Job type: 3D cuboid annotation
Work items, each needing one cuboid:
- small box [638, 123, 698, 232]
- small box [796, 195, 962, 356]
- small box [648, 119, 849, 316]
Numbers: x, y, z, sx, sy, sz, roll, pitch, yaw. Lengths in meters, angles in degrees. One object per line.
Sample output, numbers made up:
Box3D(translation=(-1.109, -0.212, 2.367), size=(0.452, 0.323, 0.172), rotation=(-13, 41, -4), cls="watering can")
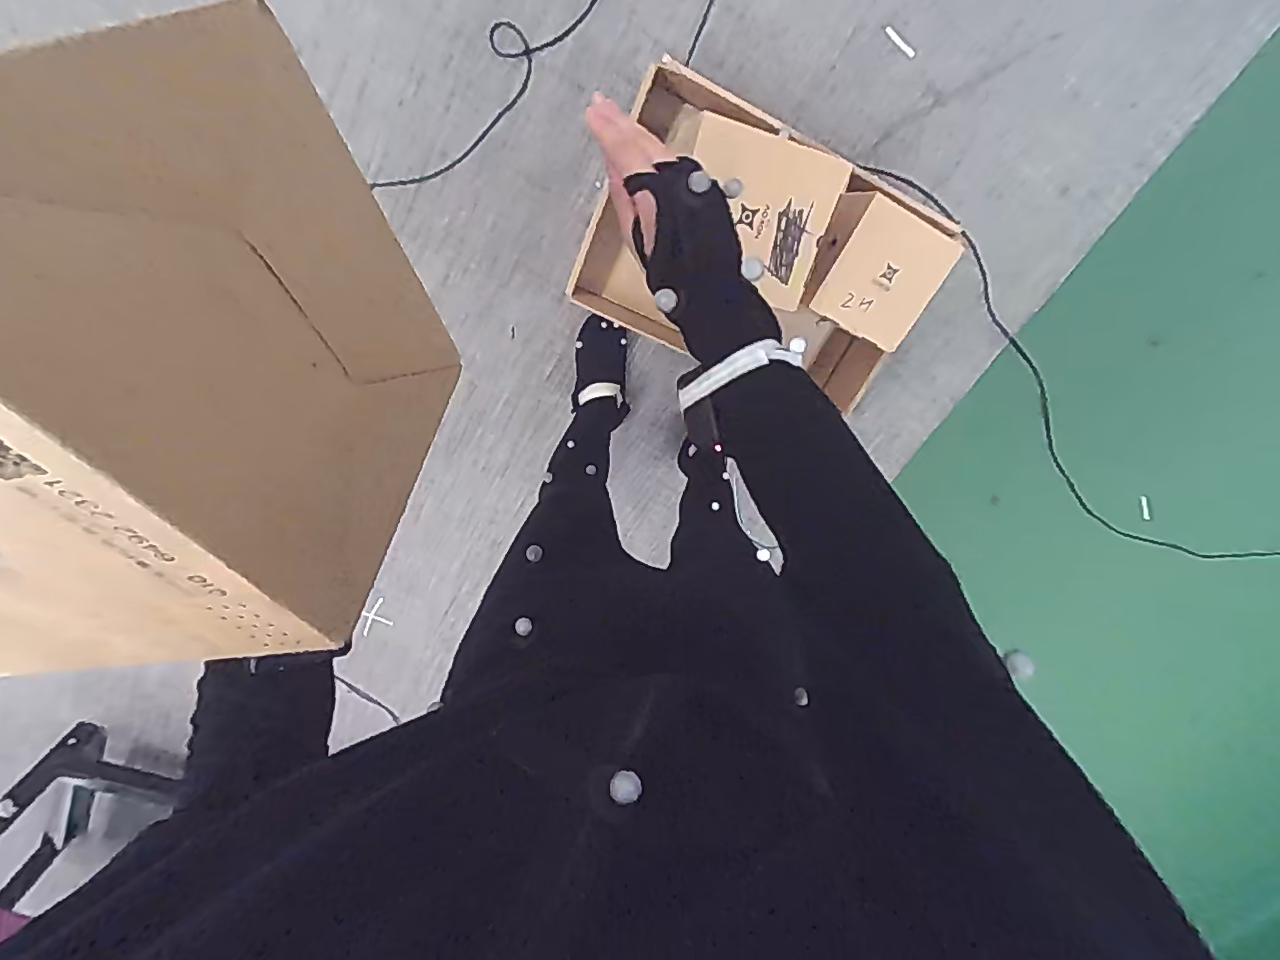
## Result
Box3D(translation=(0.107, -0.491, 0.954), size=(0.179, 0.176, 0.168), rotation=(21, 115, -15), cls="small box")
Box3D(translation=(0.354, -0.330, 0.867), size=(0.168, 0.176, 0.179), rotation=(23, 114, -14), cls="small box")
Box3D(translation=(0.118, -0.323, 0.674), size=(0.179, 0.176, 0.168), rotation=(12, 117, -10), cls="small box")
